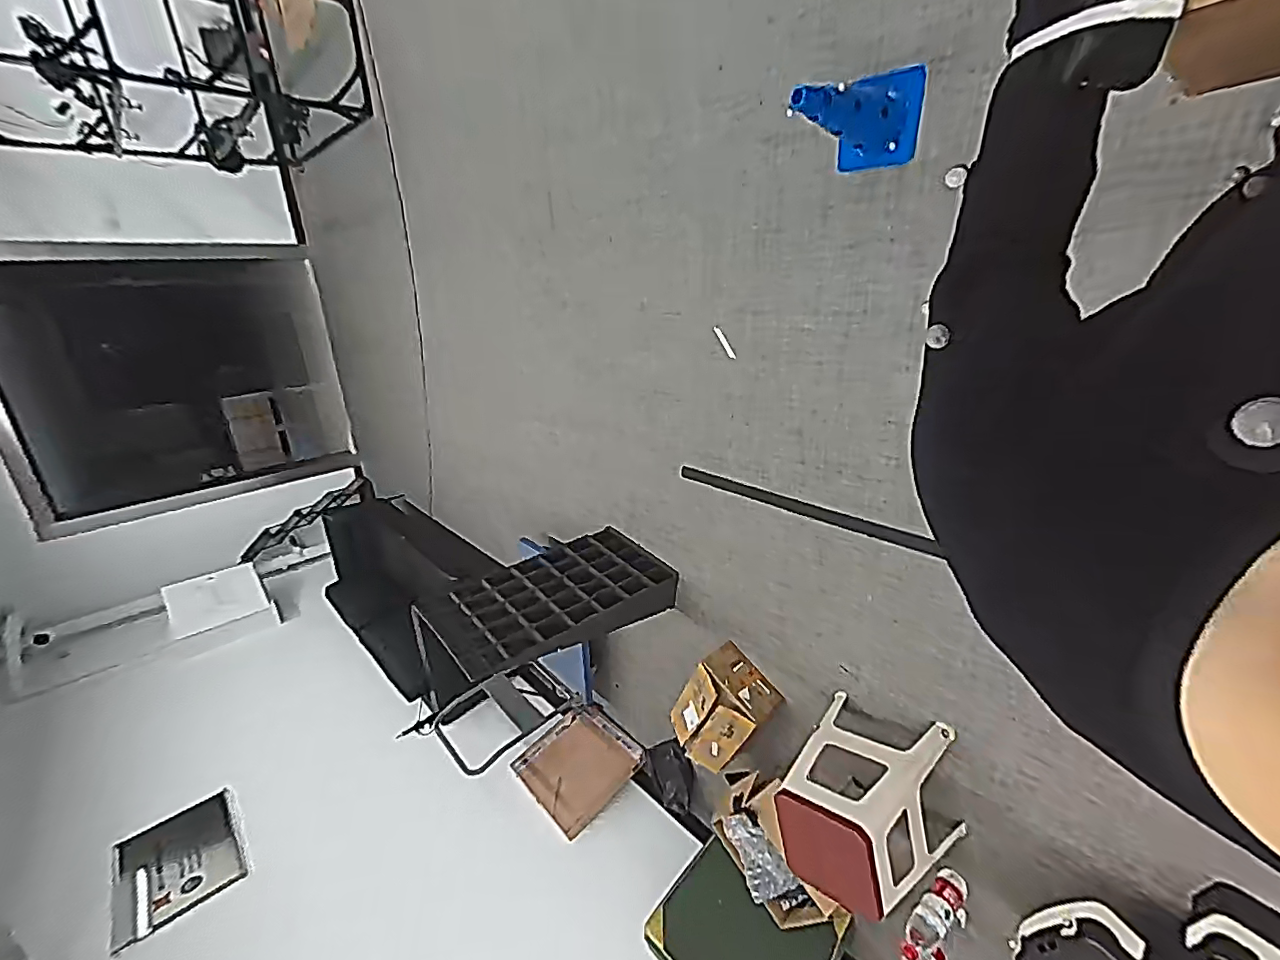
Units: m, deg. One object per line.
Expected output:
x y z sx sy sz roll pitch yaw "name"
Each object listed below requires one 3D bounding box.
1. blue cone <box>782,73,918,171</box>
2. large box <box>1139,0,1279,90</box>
0.457 -0.836 1.233 0.192 0.380 0.193 24 123 44 "blue cone"
0.540 -0.454 0.253 0.408 0.320 0.320 13 117 45 "large box"
